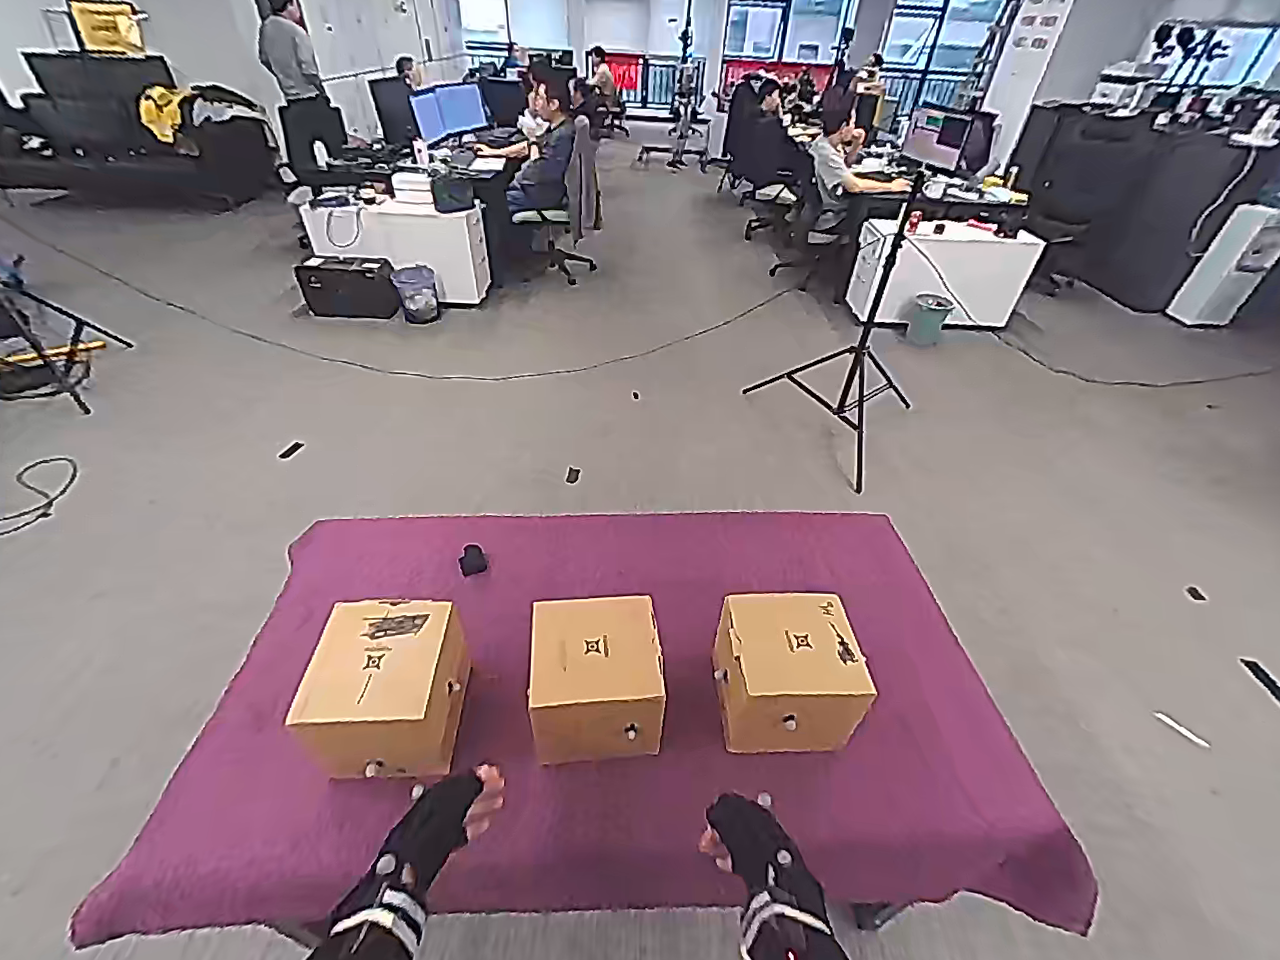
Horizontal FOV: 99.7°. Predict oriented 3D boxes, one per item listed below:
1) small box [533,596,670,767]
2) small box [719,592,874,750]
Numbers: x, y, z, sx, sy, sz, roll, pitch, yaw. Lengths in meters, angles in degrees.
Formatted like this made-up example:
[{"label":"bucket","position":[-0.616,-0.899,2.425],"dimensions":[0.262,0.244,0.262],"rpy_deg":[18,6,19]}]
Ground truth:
[{"label":"small box","position":[-0.060,0.294,0.792],"dimensions":[0.179,0.176,0.168],"rpy_deg":[-4,38,-7]},{"label":"small box","position":[0.218,0.288,0.814],"dimensions":[0.179,0.176,0.168],"rpy_deg":[-1,40,-3]}]
